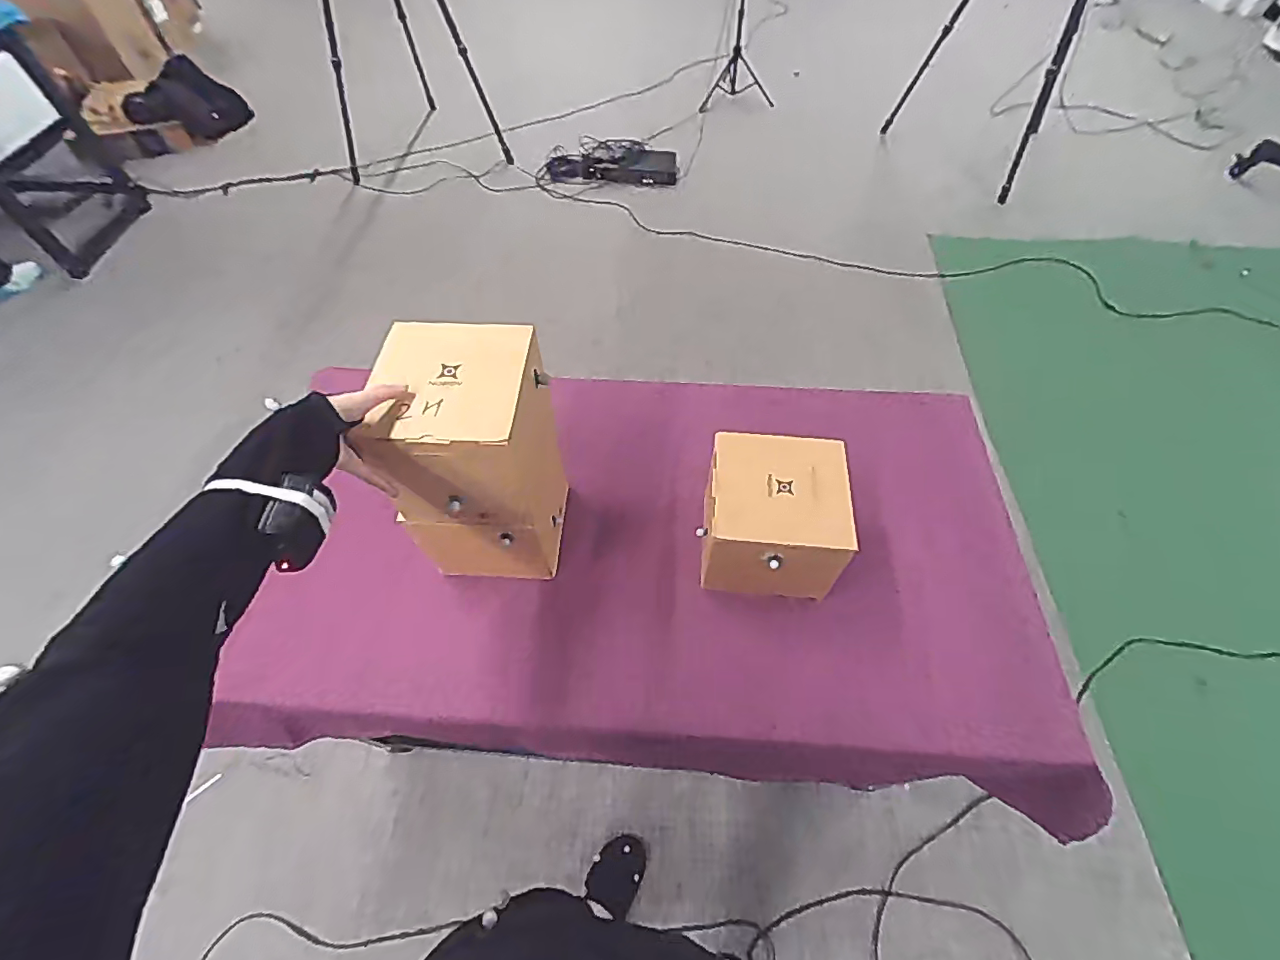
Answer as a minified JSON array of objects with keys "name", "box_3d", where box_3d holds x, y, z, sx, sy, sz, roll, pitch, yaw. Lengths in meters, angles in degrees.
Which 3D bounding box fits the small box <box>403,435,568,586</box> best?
[{"name":"small box","box_3d":[-0.209,0.045,0.785,0.179,0.176,0.168,2,55,1]}]

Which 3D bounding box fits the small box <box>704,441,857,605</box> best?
[{"name":"small box","box_3d":[0.185,0.065,0.760,0.179,0.176,0.168,5,57,4]}]

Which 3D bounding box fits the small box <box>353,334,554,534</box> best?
[{"name":"small box","box_3d":[-0.203,-0.053,0.652,0.168,0.176,0.179,1,55,2]}]
